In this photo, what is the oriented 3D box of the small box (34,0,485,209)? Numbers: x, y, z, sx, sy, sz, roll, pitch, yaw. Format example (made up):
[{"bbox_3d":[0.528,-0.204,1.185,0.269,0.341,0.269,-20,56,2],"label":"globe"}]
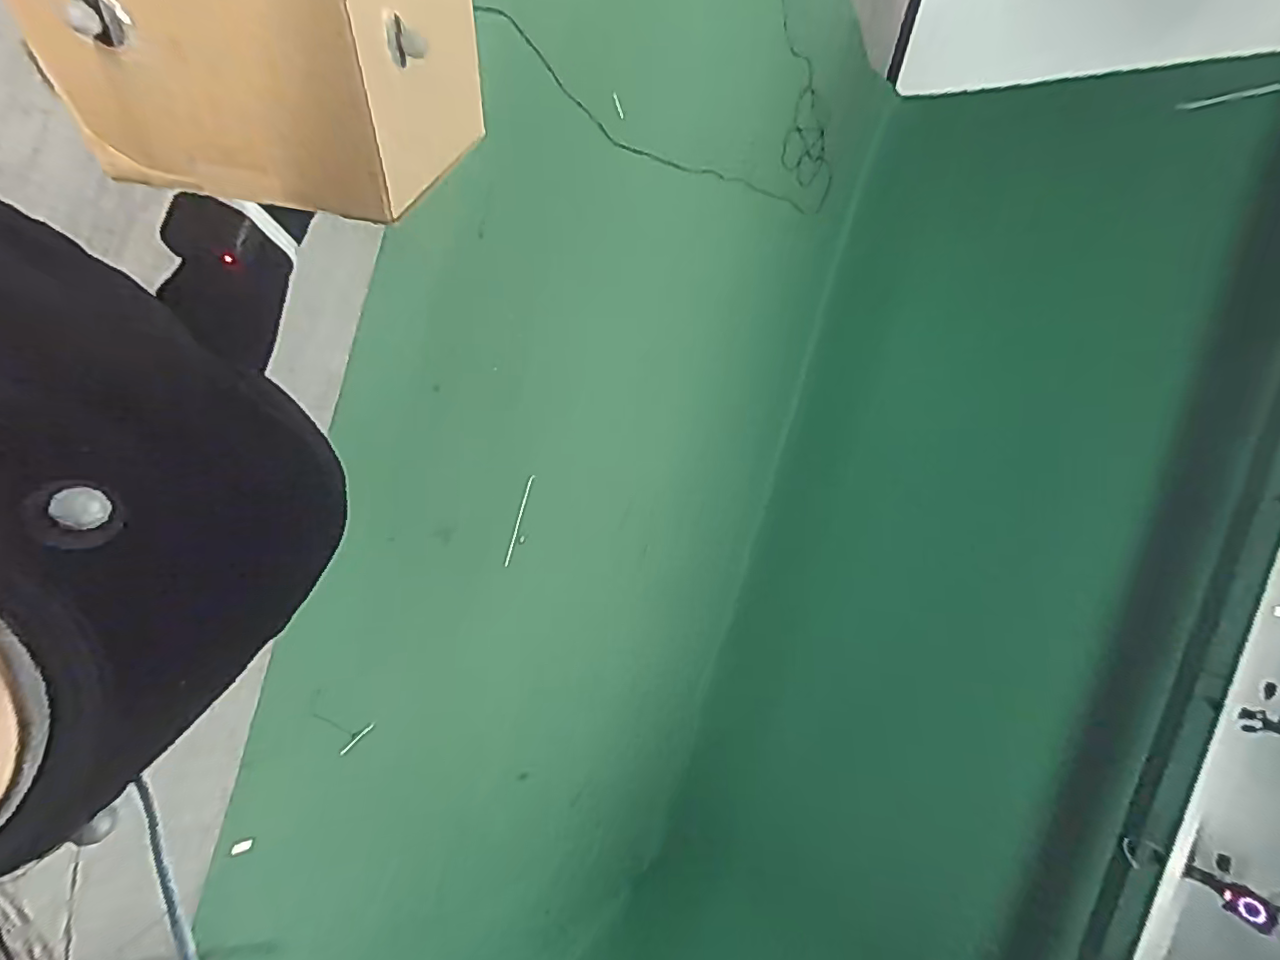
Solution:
[{"bbox_3d":[-0.200,-0.278,0.299,0.176,0.168,0.179,98,0,-48],"label":"small box"}]
